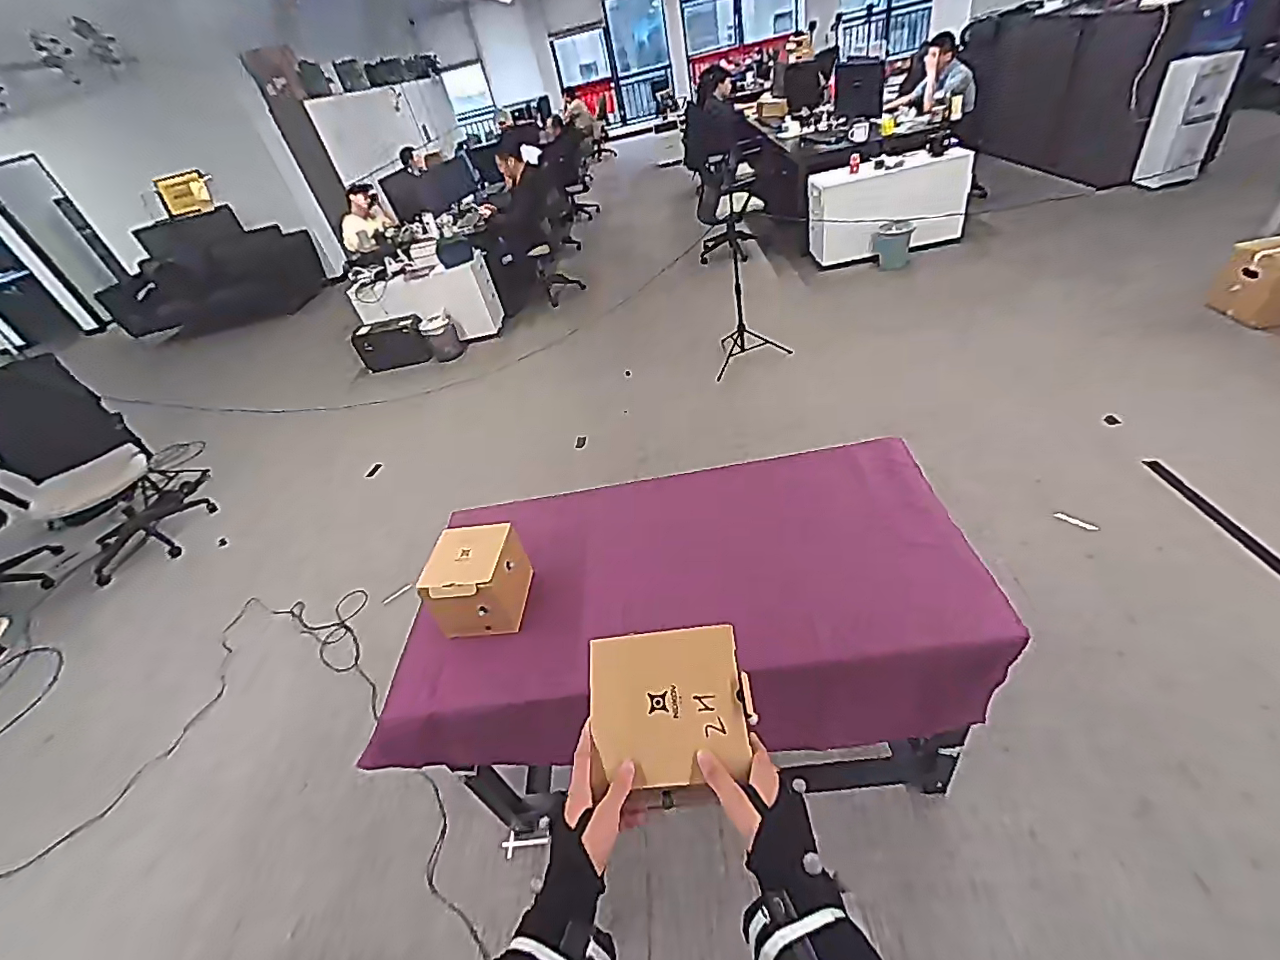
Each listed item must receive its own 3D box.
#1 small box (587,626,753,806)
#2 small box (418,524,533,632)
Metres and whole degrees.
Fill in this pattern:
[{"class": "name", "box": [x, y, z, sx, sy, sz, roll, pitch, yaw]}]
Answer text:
[{"class": "small box", "box": [0.041, 0.295, 0.665, 0.179, 0.176, 0.168, -7, 54, 5]}, {"class": "small box", "box": [-0.350, 0.221, 1.193, 0.168, 0.176, 0.179, -5, 39, 10]}]
